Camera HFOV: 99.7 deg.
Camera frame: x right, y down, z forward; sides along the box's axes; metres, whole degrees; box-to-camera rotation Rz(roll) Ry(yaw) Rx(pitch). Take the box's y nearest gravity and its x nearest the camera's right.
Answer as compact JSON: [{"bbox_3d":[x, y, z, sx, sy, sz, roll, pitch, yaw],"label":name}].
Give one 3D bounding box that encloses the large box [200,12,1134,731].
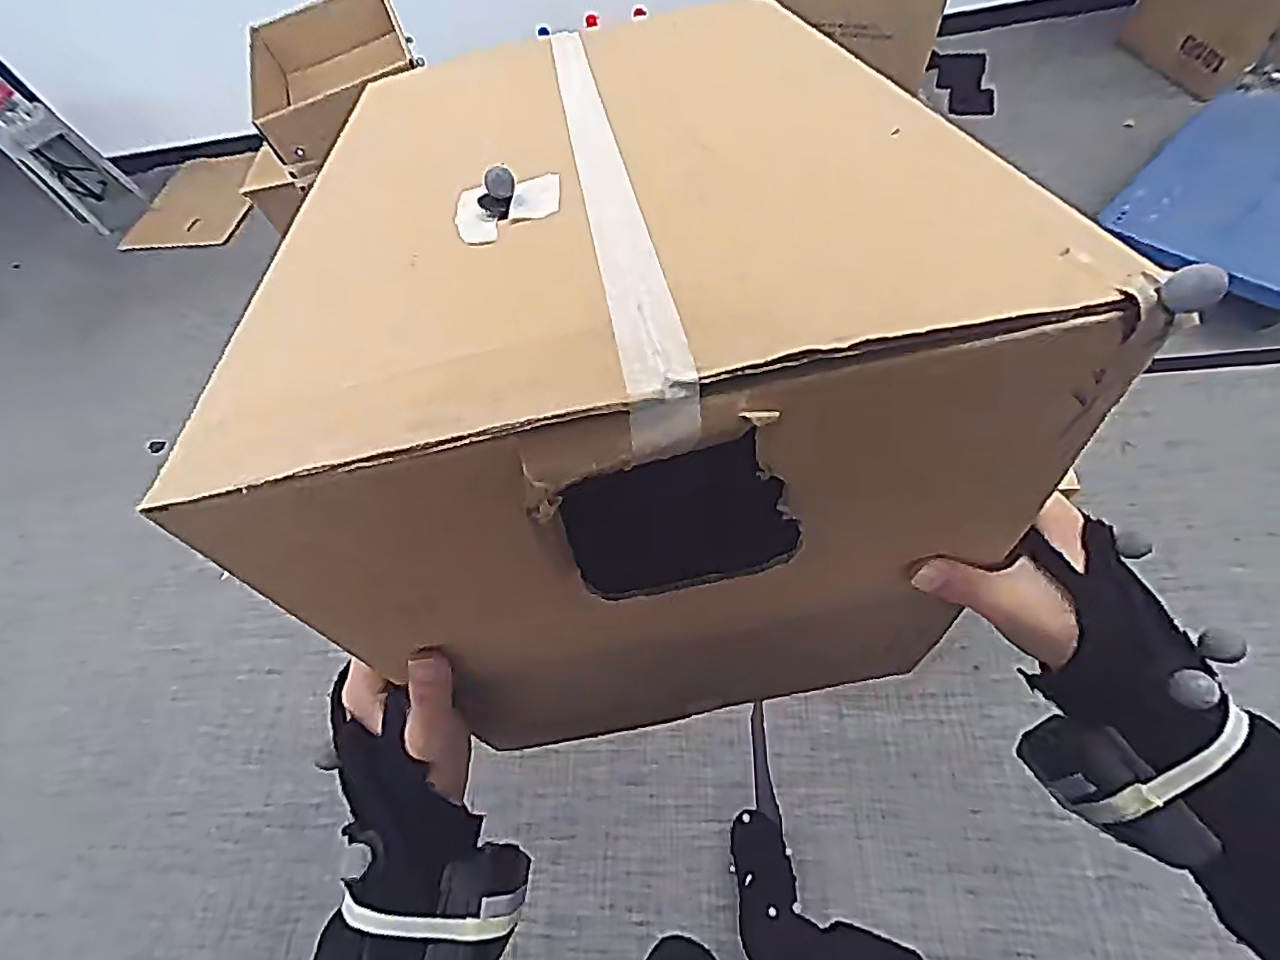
[{"bbox_3d":[-0.007,-0.084,0.407,0.320,0.320,0.408,-13,52,1],"label":"large box"}]
